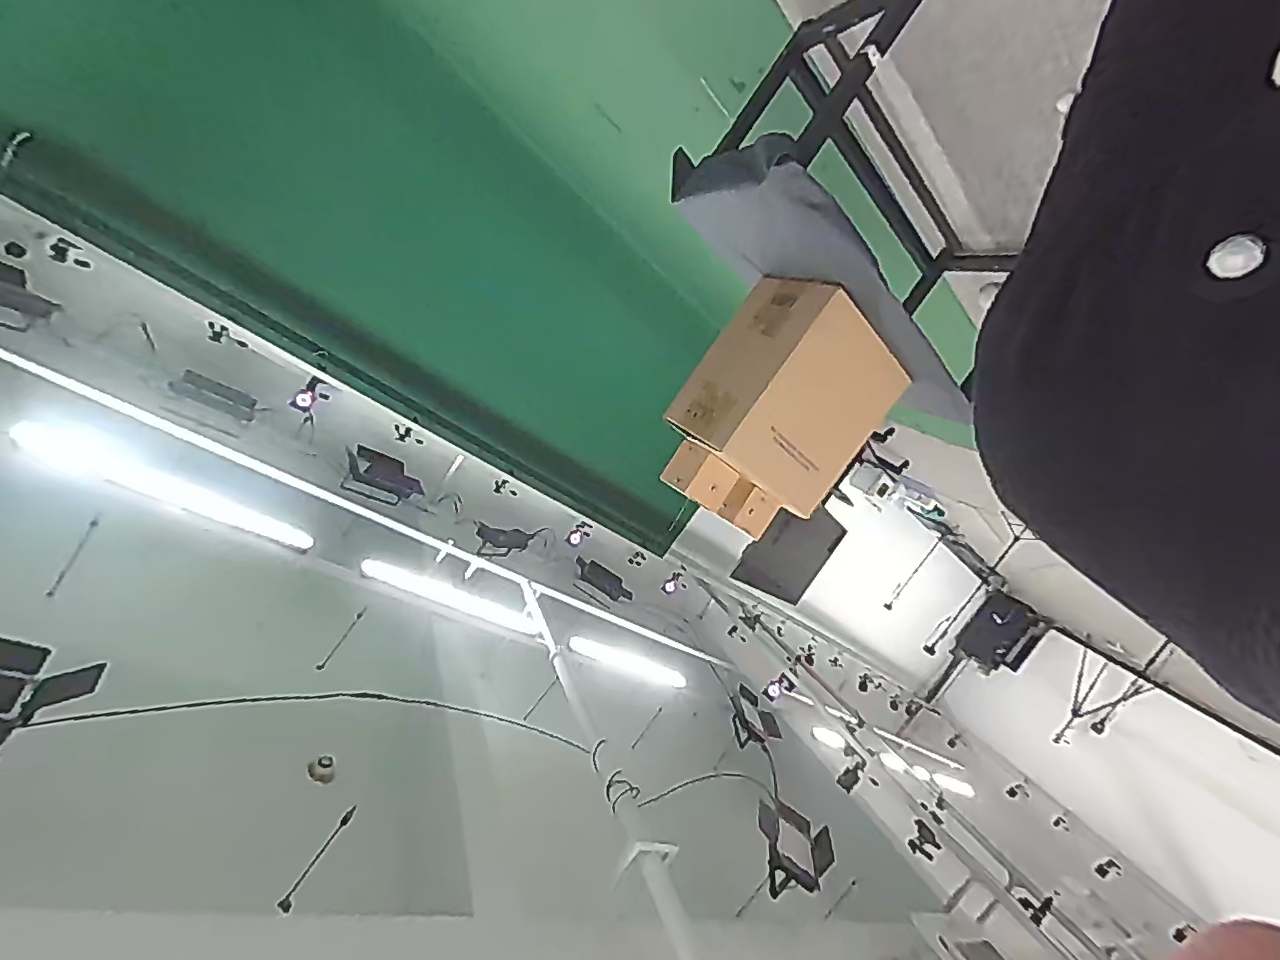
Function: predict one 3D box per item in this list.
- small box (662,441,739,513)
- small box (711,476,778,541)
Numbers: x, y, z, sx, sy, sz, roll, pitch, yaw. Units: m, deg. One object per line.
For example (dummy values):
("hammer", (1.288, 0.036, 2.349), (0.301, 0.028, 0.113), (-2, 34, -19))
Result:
("small box", (0.218, -0.015, 1.920), (0.179, 0.176, 0.168), (32, -179, -35))
("small box", (0.399, 0.099, 2.062), (0.168, 0.176, 0.179), (34, -179, -33))
